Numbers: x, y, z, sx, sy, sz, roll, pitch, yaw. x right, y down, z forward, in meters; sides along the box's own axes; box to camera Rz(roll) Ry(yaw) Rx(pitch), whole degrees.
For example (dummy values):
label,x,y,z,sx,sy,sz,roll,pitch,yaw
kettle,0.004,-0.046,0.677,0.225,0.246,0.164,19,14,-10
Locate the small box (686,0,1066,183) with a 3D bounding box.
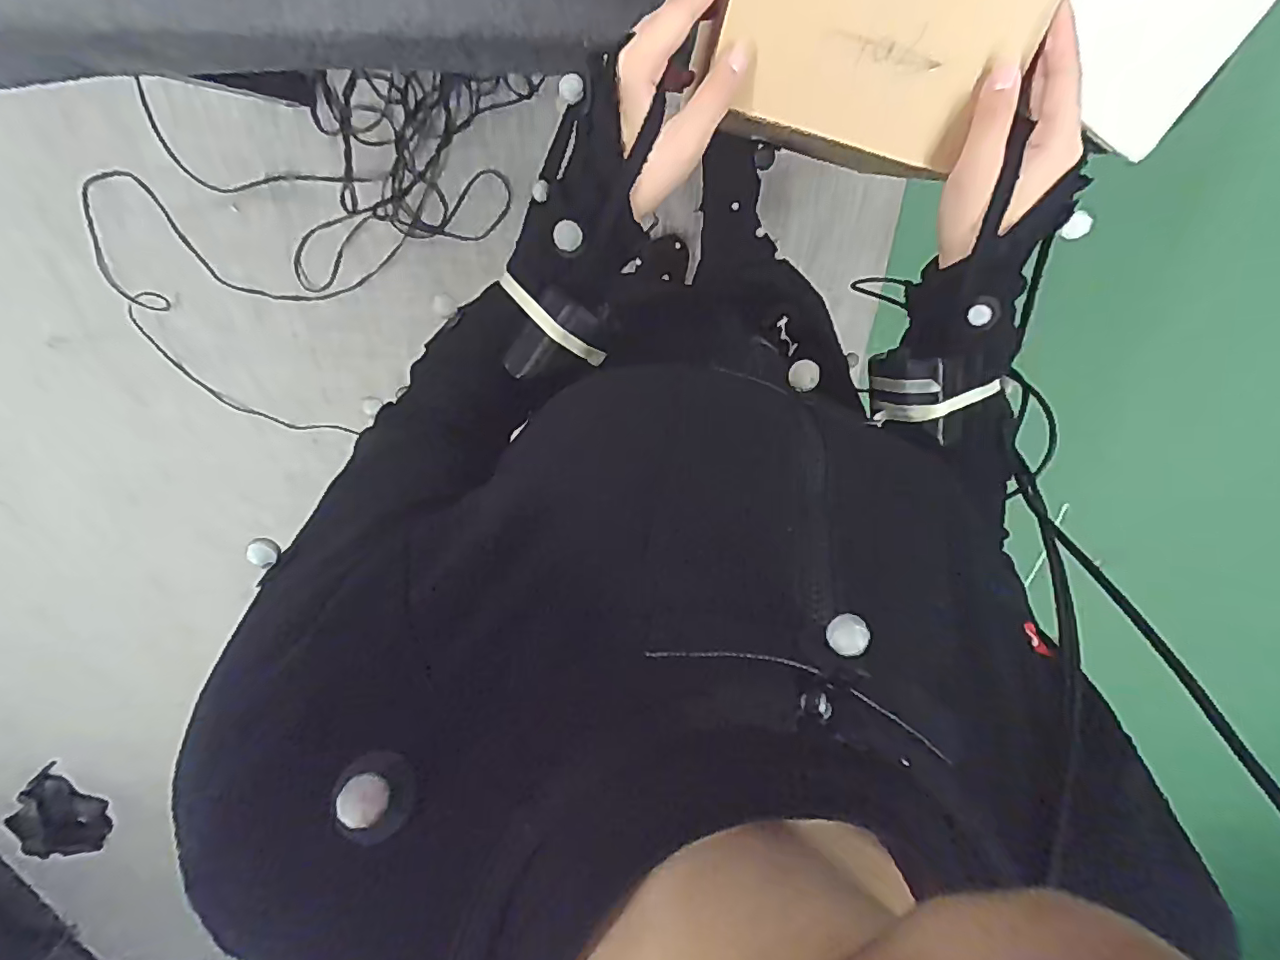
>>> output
label,x,y,z,sx,sy,sz,roll,pitch,yaw
small box,0.131,-0.298,0.324,0.168,0.176,0.179,12,120,-8
